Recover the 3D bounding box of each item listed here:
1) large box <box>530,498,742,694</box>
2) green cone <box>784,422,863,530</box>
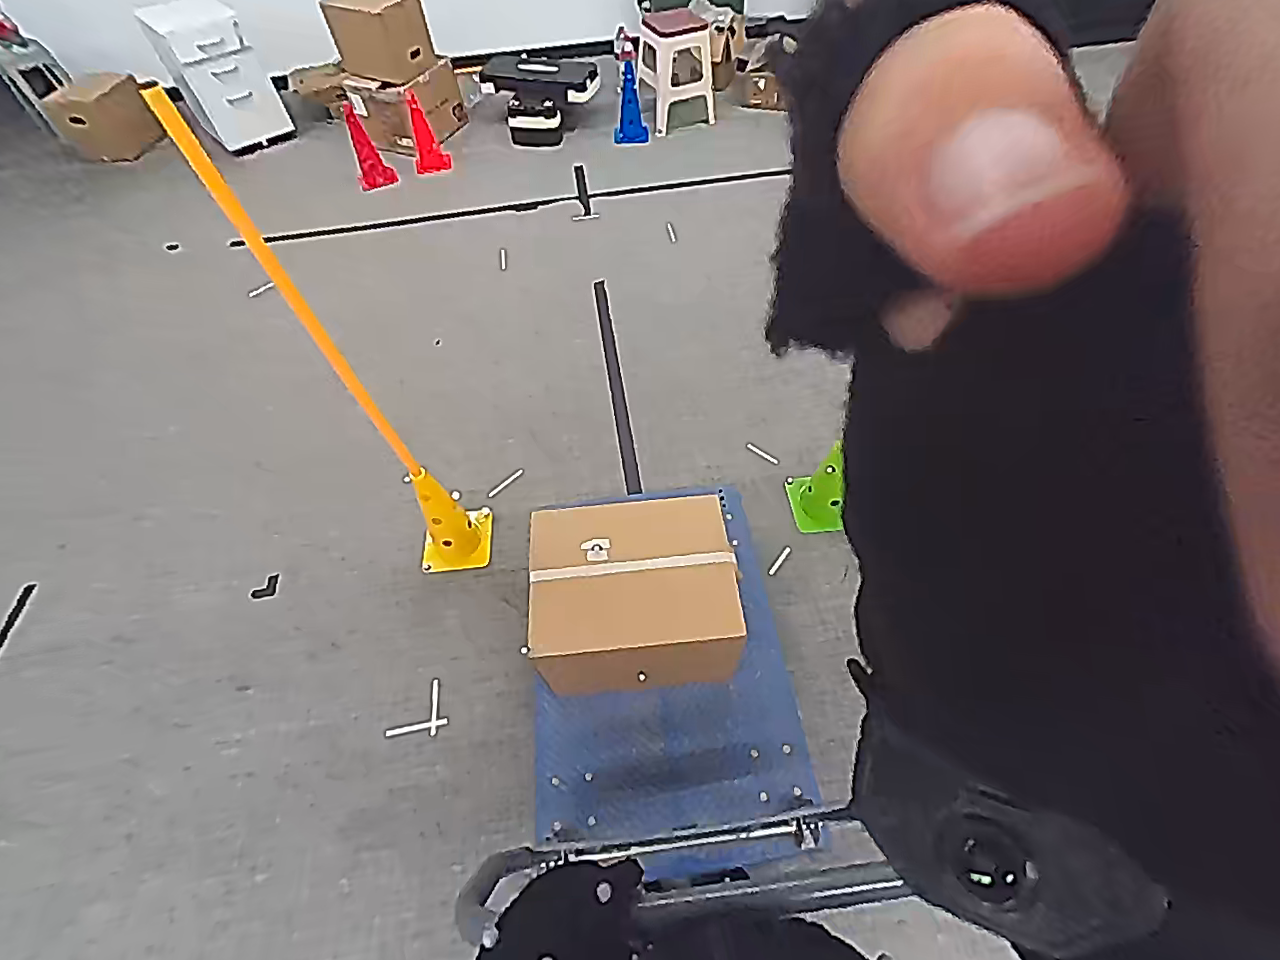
[{"bbox_3d":[-0.012,0.269,1.208,0.408,0.320,0.320,-6,55,0],"label":"large box"},{"bbox_3d":[0.564,-0.031,1.560,0.202,0.368,0.200,-5,55,-2],"label":"green cone"}]
